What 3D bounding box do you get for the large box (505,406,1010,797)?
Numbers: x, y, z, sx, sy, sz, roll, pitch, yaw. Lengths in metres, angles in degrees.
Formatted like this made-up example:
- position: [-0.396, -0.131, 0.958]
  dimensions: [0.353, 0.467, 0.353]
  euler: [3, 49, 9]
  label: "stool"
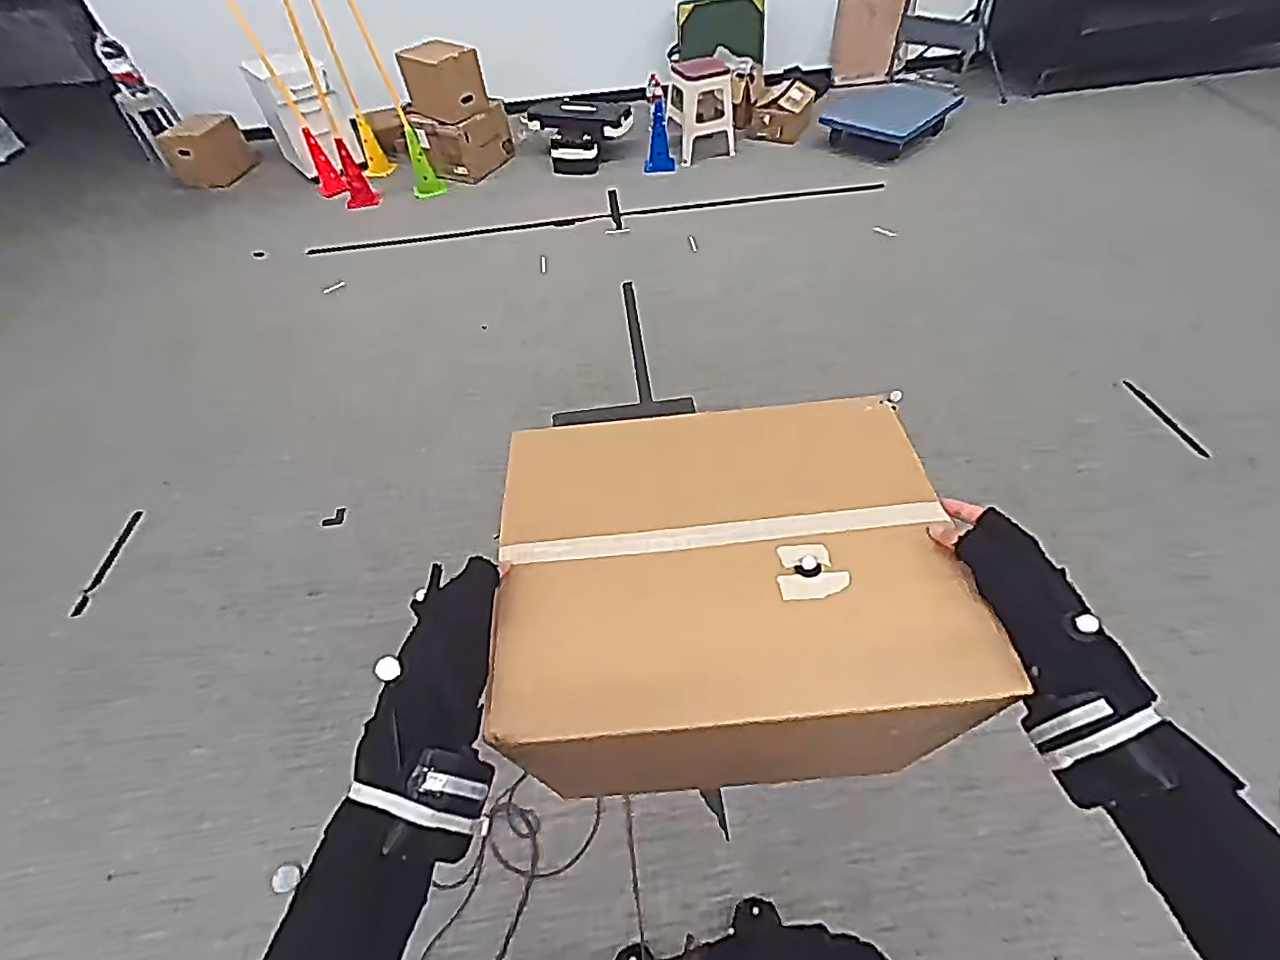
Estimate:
- position: [0.087, 0.149, 0.623]
  dimensions: [0.408, 0.320, 0.320]
  euler: [-6, 53, 0]
  label: "large box"
